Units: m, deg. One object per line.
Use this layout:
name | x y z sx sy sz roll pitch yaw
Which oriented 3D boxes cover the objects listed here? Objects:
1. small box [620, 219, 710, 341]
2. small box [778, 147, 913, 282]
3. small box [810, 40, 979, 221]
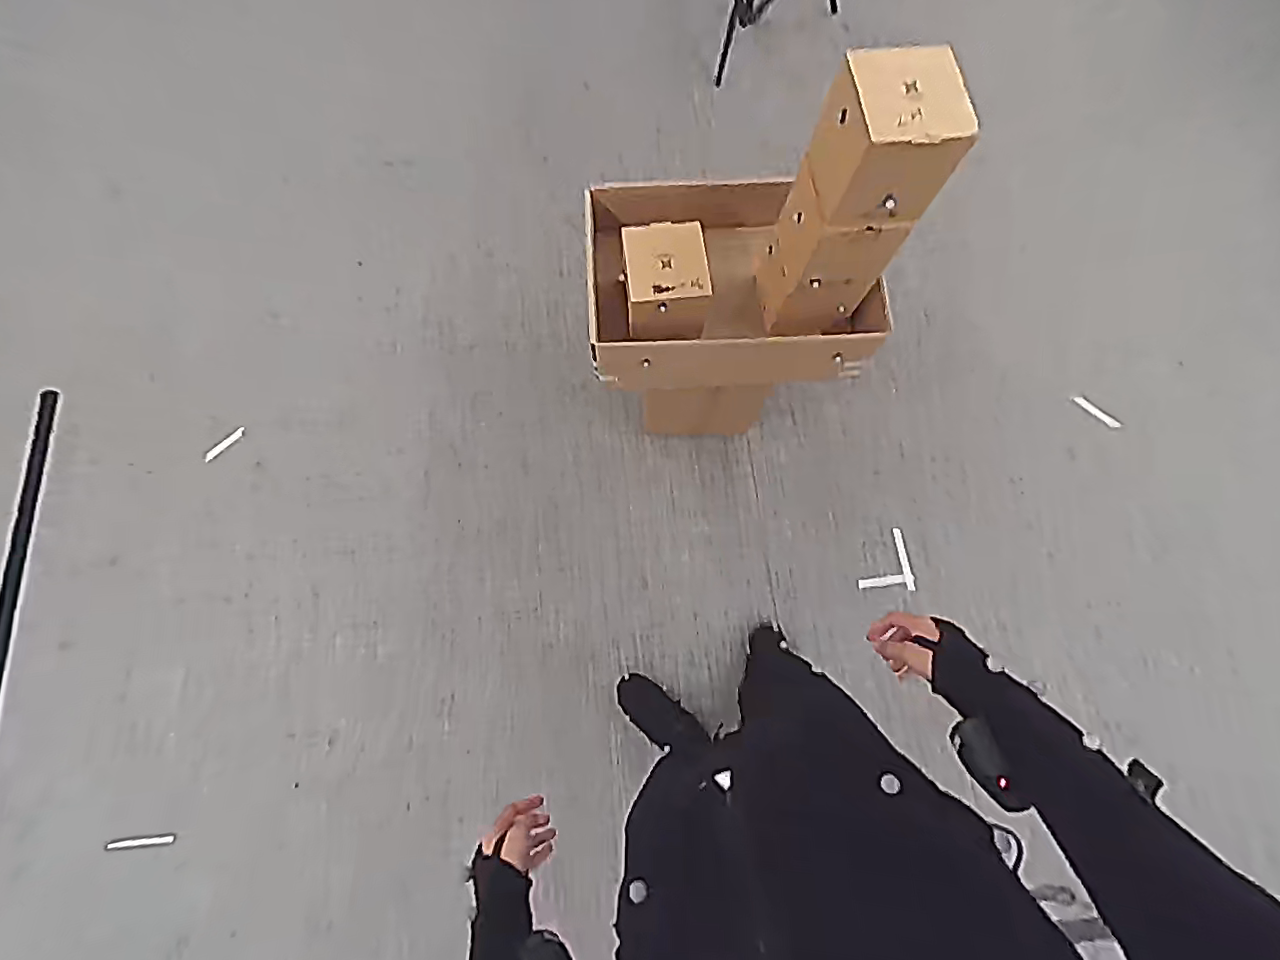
small box | 0.046 -0.420 1.153 0.168 0.176 0.179 -7 75 -2
small box | 0.372 -0.489 1.010 0.168 0.176 0.179 -6 75 -4
small box | 0.385 -0.544 0.855 0.168 0.176 0.179 -7 76 -4
